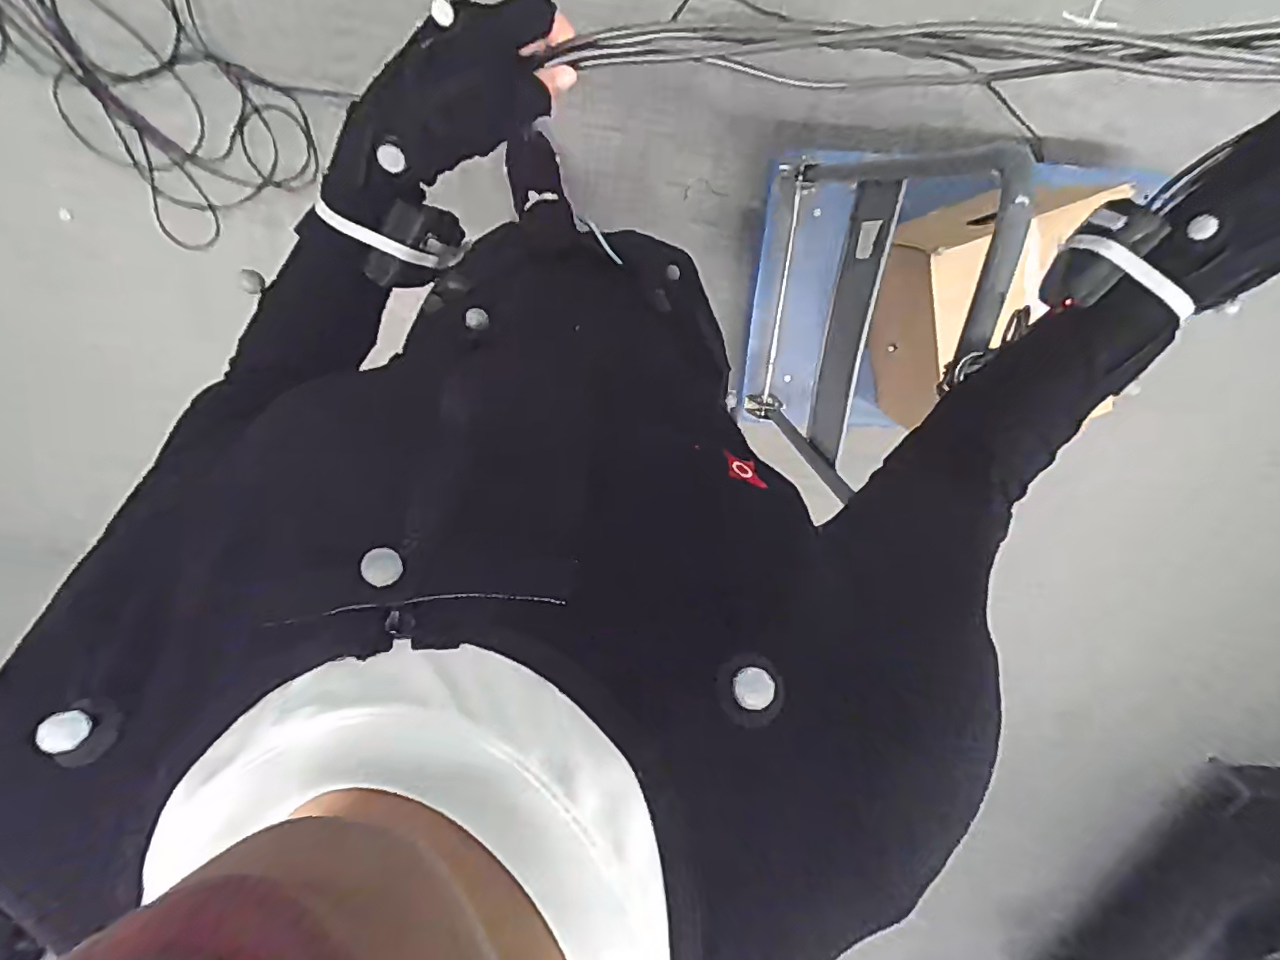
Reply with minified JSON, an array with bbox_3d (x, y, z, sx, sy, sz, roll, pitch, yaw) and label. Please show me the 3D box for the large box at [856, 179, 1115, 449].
[{"bbox_3d":[0.669,-0.335,1.093,0.320,0.320,0.408,-18,117,6],"label":"large box"}]
